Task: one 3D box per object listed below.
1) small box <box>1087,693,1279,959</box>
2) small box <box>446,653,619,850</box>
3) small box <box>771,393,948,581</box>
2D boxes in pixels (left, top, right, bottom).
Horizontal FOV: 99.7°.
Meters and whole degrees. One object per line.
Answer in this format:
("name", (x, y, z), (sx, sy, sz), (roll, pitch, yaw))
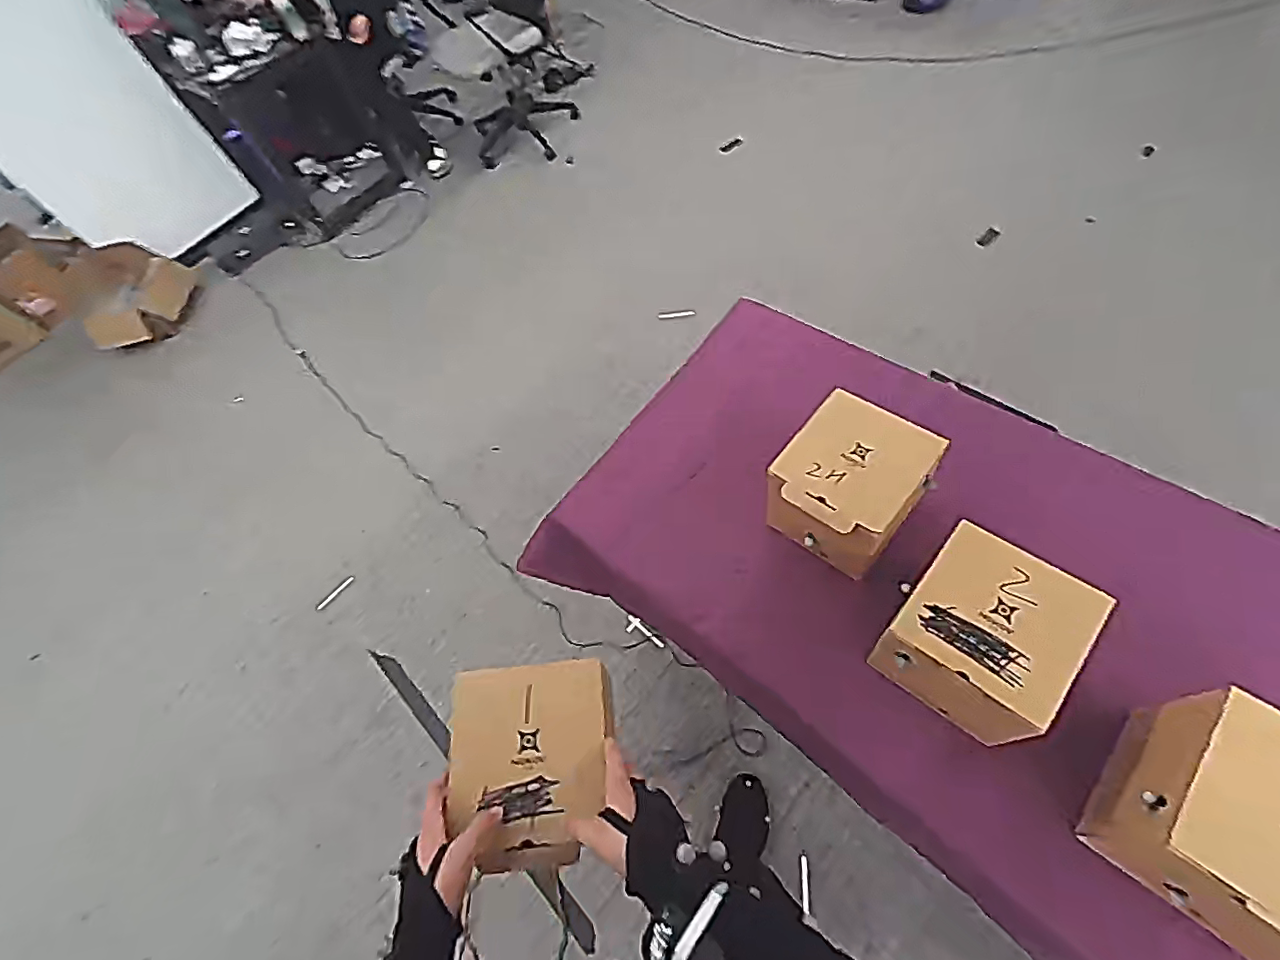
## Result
("small box", (0.595, 0.344, 0.533), (0.168, 0.176, 0.179), (33, 72, 27))
("small box", (-0.116, 0.316, 0.641), (0.168, 0.176, 0.179), (-5, 62, -2))
("small box", (0.305, 0.014, 0.789), (0.168, 0.176, 0.179), (35, 73, 28))
